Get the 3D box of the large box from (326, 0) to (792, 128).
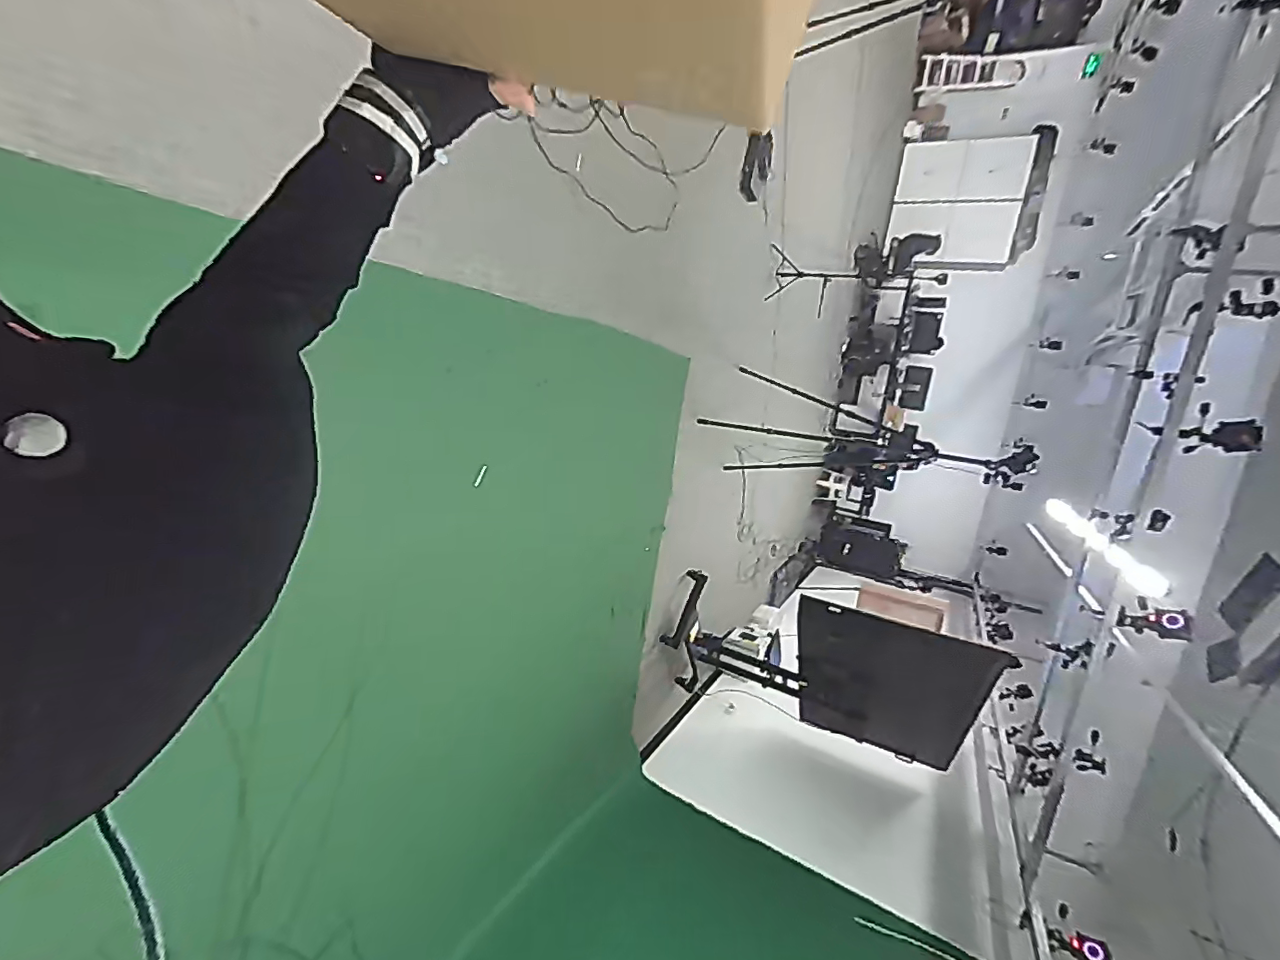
[{"bbox_3d":[-0.061,-0.381,0.188,0.408,0.320,0.320,-62,168,-69],"label":"large box"}]
